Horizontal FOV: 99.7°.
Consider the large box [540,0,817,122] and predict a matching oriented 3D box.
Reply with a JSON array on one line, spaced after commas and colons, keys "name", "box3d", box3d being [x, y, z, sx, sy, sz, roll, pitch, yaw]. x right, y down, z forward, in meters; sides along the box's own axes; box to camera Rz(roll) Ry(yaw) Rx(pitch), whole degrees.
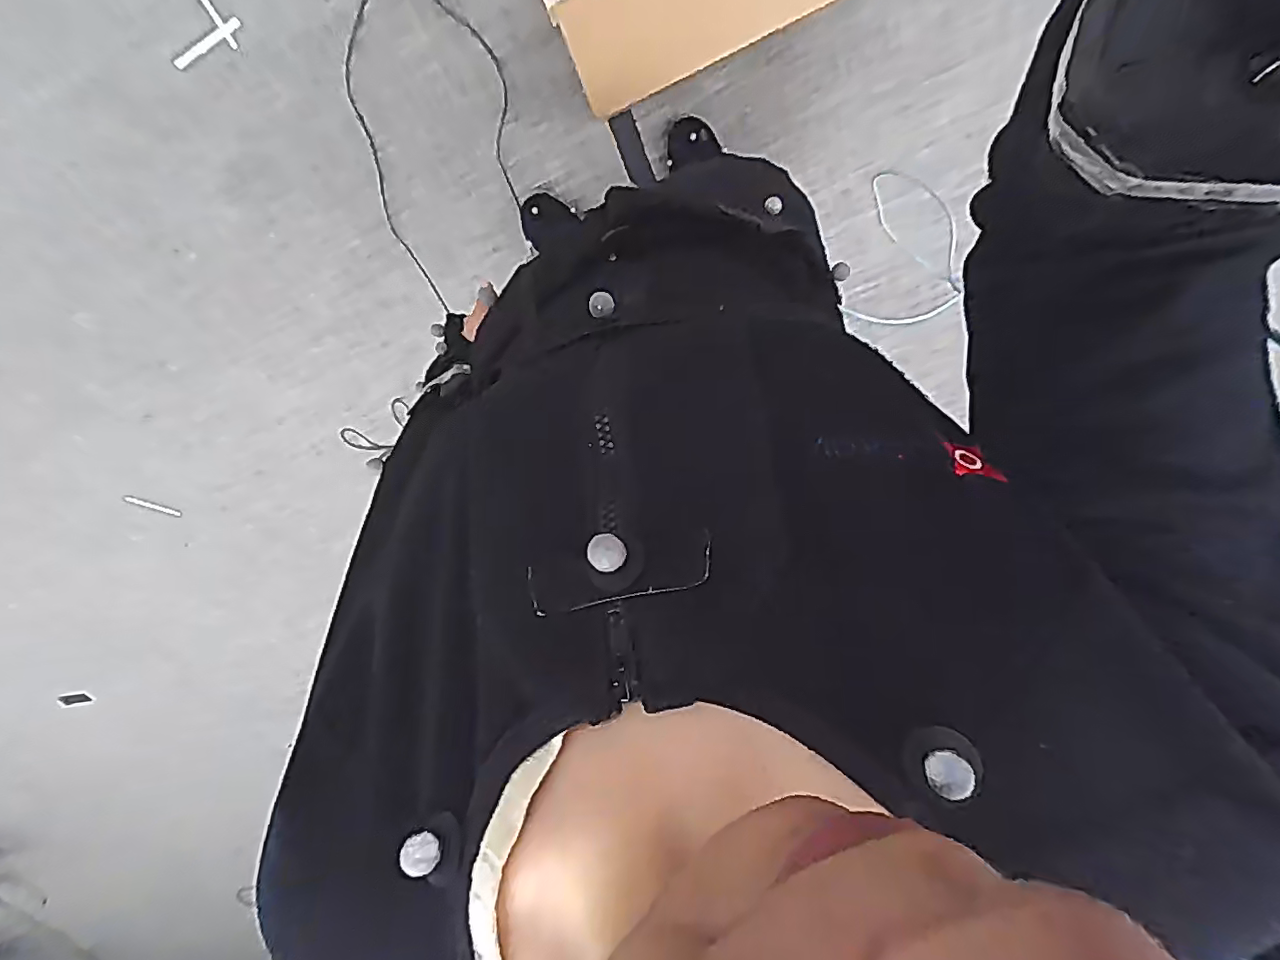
[{"name": "large box", "box3d": [0.039, -0.802, 0.815, 0.408, 0.320, 0.320, -21, 122, 11]}]
